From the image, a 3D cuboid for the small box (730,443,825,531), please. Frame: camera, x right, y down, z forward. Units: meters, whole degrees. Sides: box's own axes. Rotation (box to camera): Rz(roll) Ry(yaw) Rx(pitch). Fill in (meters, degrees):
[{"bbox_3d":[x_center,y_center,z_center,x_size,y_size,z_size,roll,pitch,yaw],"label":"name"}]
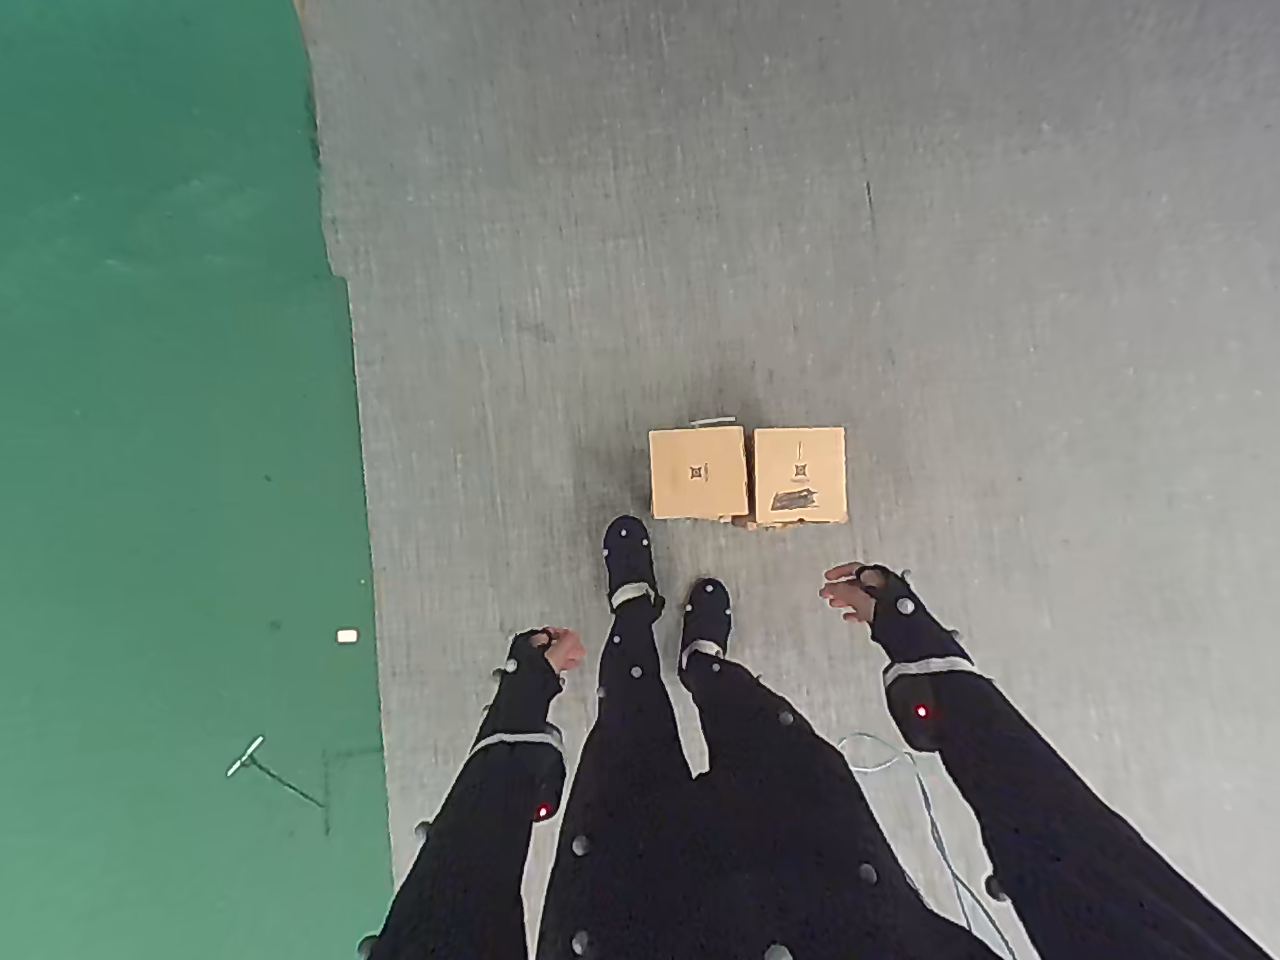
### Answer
[{"bbox_3d":[0.304,0.020,1.224,0.168,0.176,0.179,-6,87,2],"label":"small box"}]
